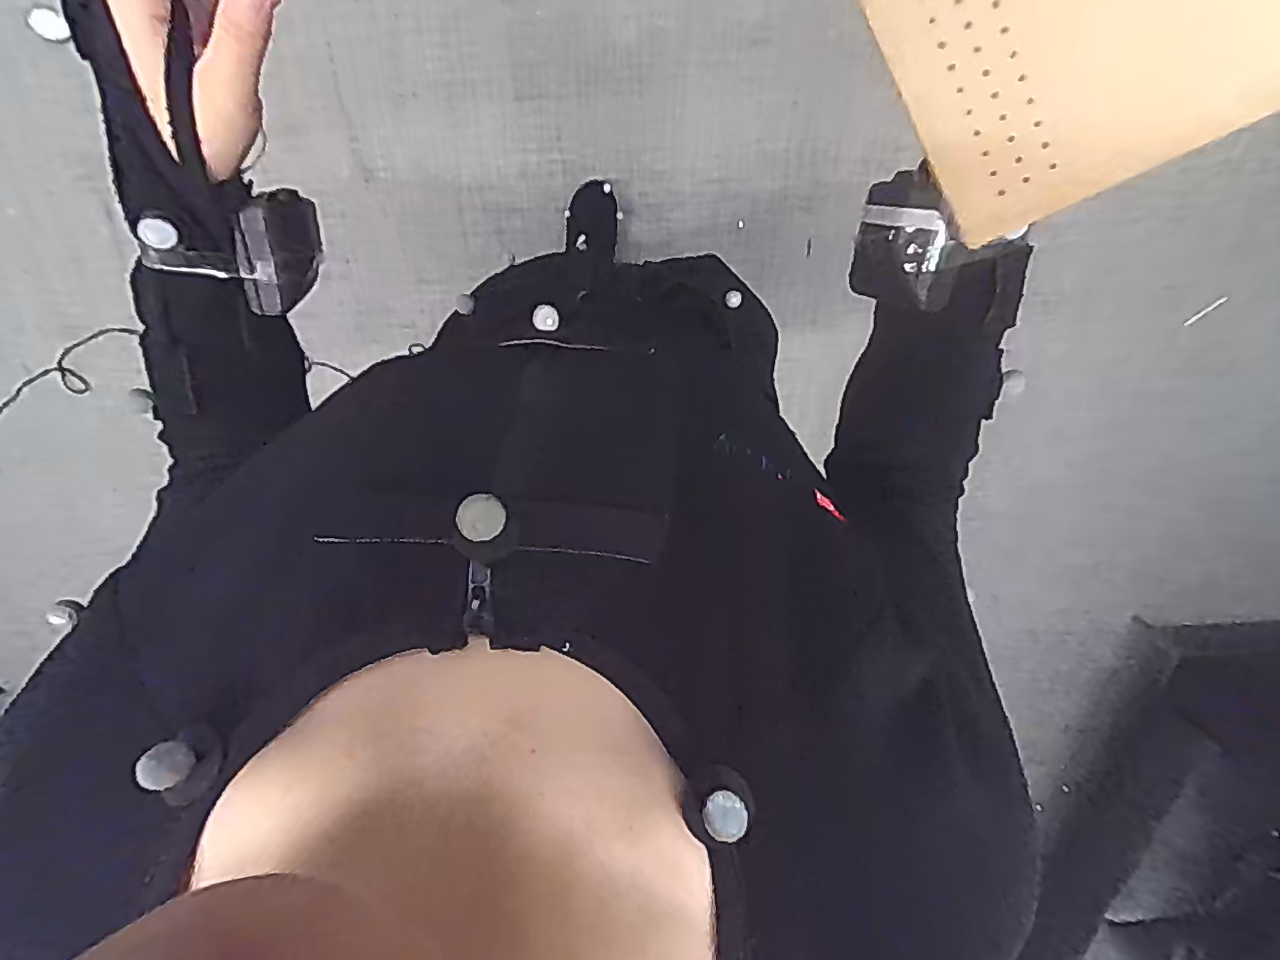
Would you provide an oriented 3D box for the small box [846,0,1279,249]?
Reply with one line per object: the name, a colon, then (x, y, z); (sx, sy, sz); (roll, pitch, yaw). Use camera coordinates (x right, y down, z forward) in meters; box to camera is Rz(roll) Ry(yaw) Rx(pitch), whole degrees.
small box: (0.145, -0.206, 0.146); (0.176, 0.168, 0.179); (-18, 123, 47)
